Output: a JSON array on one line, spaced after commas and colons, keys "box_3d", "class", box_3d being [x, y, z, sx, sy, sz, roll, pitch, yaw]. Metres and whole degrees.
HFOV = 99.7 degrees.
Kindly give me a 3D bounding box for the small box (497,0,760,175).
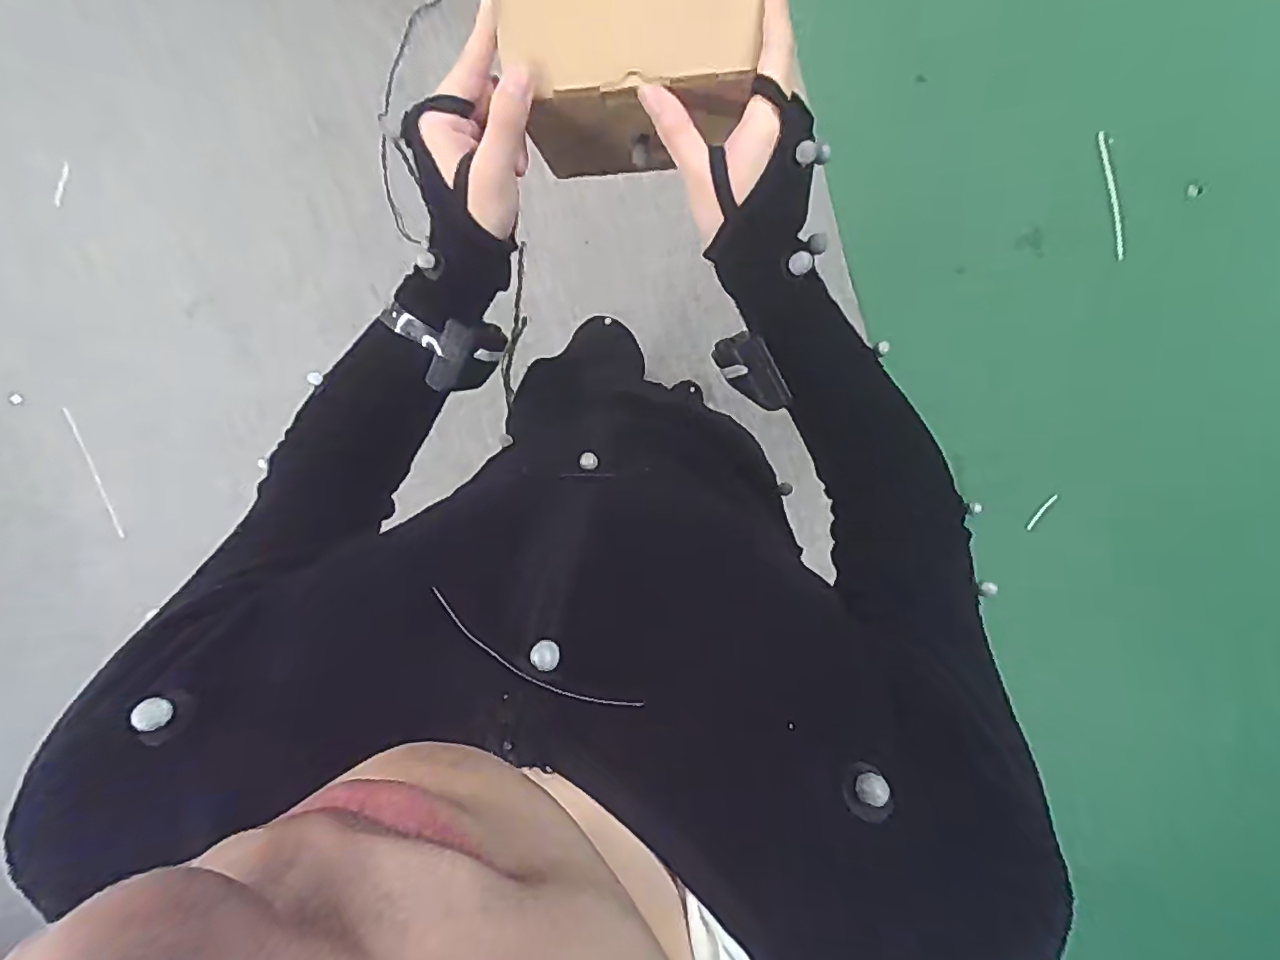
[{"box_3d": [-0.005, -0.344, 0.402, 0.168, 0.176, 0.179, -4, 104, 4], "class": "small box"}]
